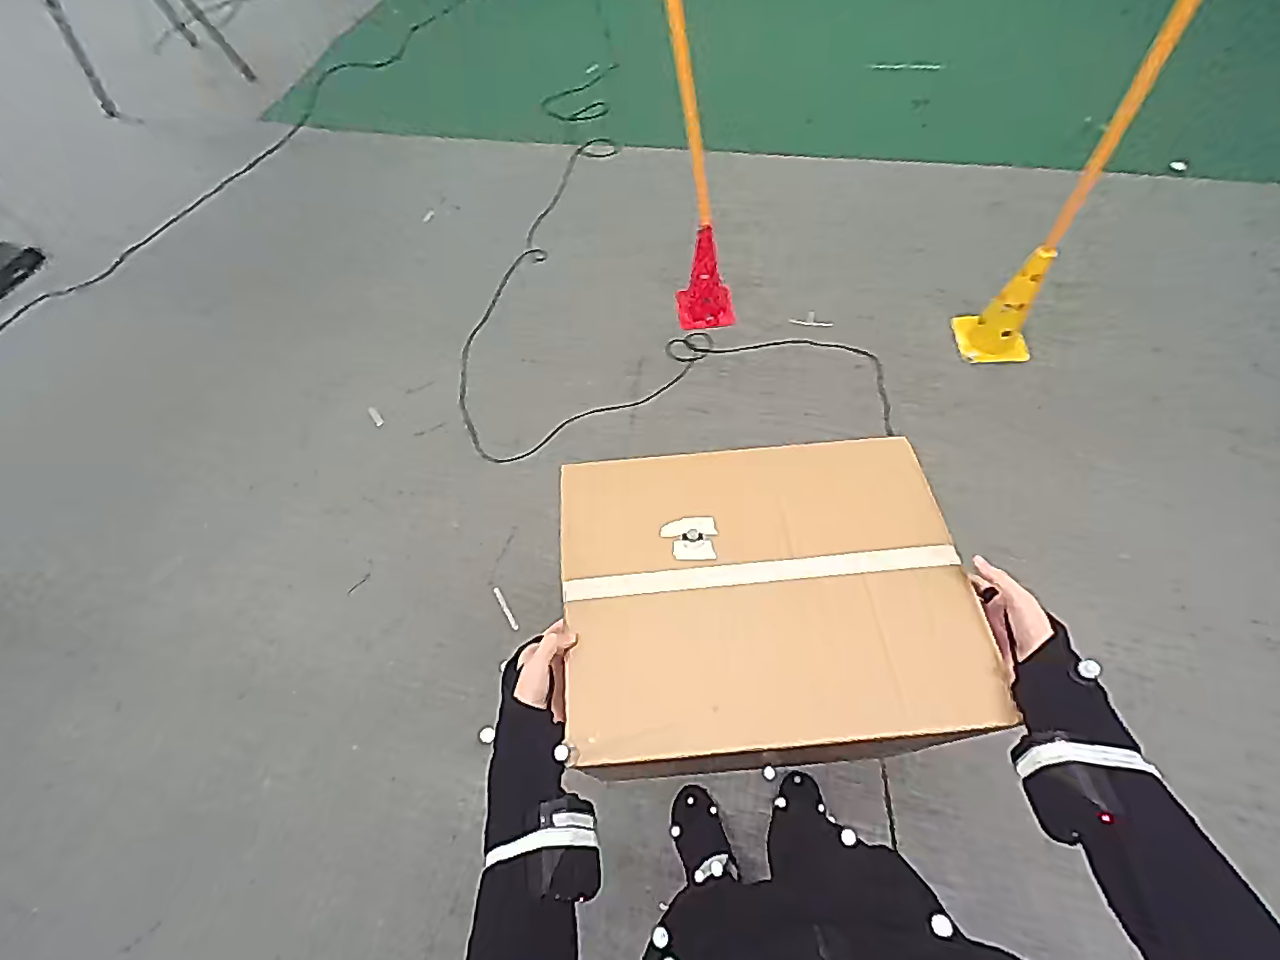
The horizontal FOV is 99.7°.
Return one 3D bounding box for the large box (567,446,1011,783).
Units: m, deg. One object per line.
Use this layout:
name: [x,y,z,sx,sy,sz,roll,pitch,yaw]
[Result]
large box: [0.134,0.186,0.685,0.408,0.320,0.320,-5,57,0]
